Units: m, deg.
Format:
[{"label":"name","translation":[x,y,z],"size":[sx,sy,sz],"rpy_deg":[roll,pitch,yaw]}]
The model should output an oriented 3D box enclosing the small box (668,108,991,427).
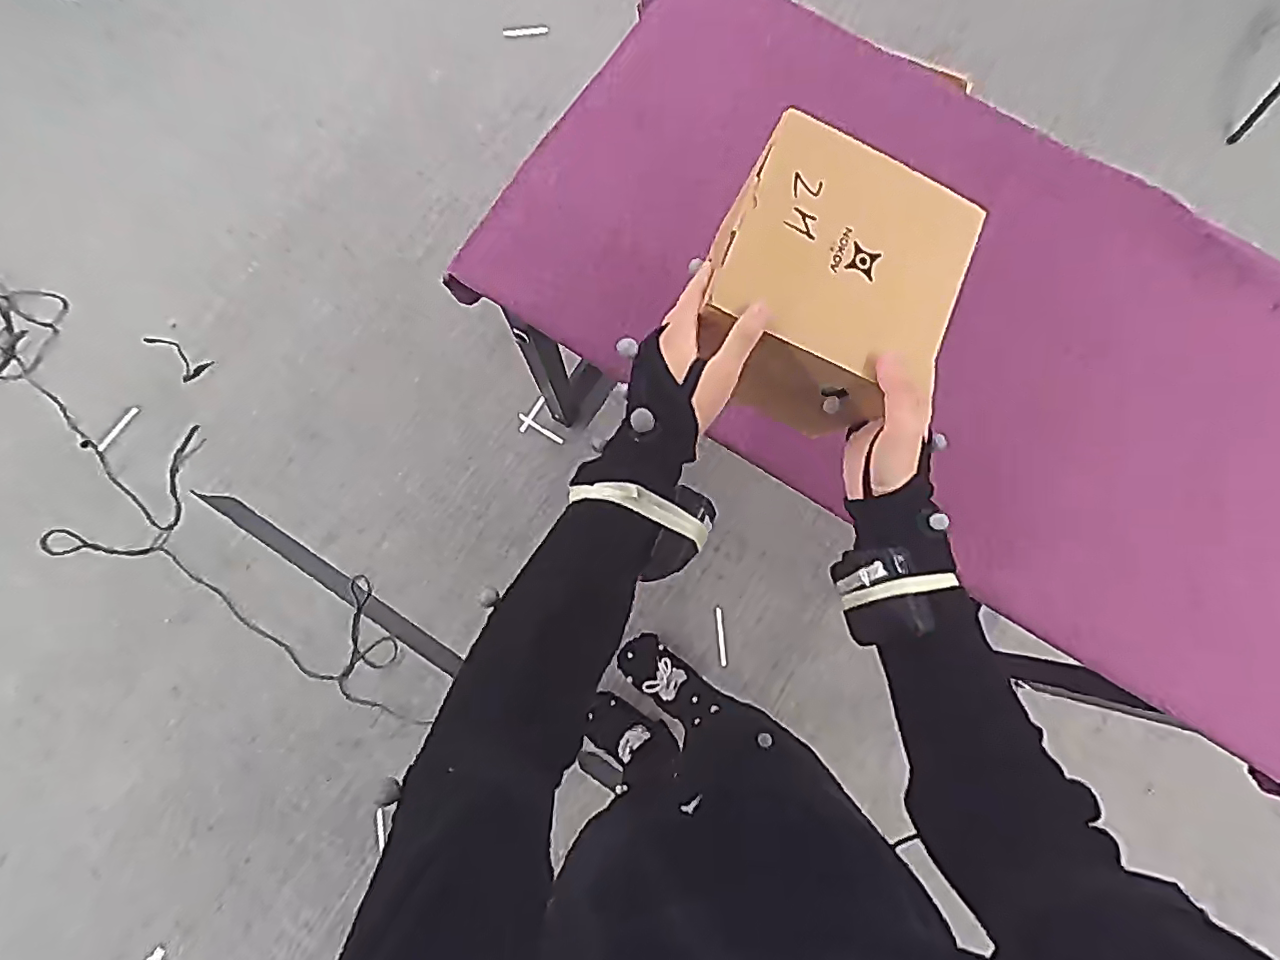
[{"label":"small box","translation":[0.144,-0.156,0.467],"size":[0.179,0.176,0.168],"rpy_deg":[23,83,-6]}]
